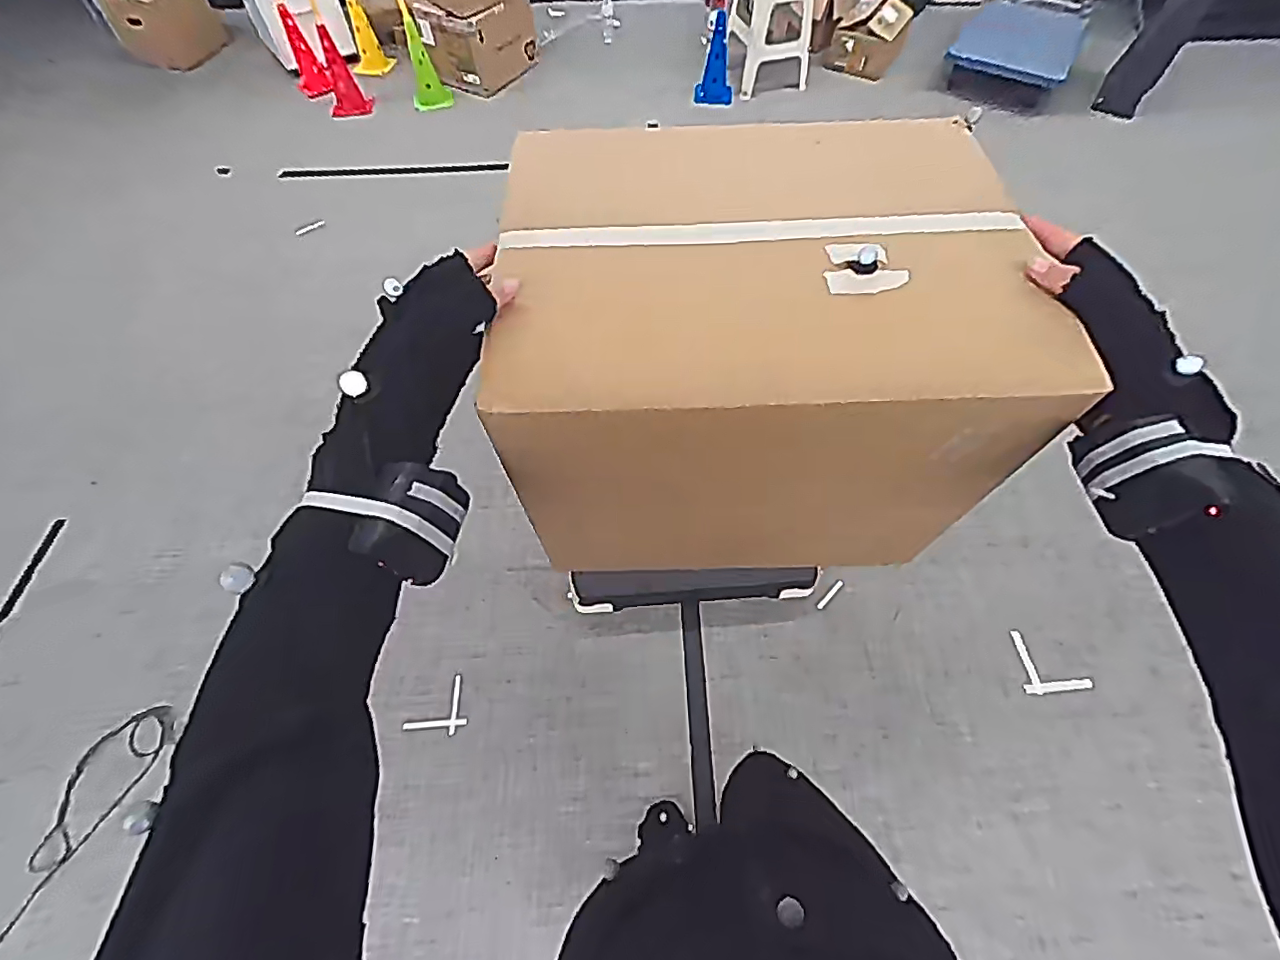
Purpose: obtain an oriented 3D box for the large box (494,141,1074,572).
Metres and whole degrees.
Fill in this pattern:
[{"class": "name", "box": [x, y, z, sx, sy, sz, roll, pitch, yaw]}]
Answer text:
[{"class": "large box", "box": [0.092, -0.106, 0.565, 0.408, 0.320, 0.320, -2, 61, 0]}]
